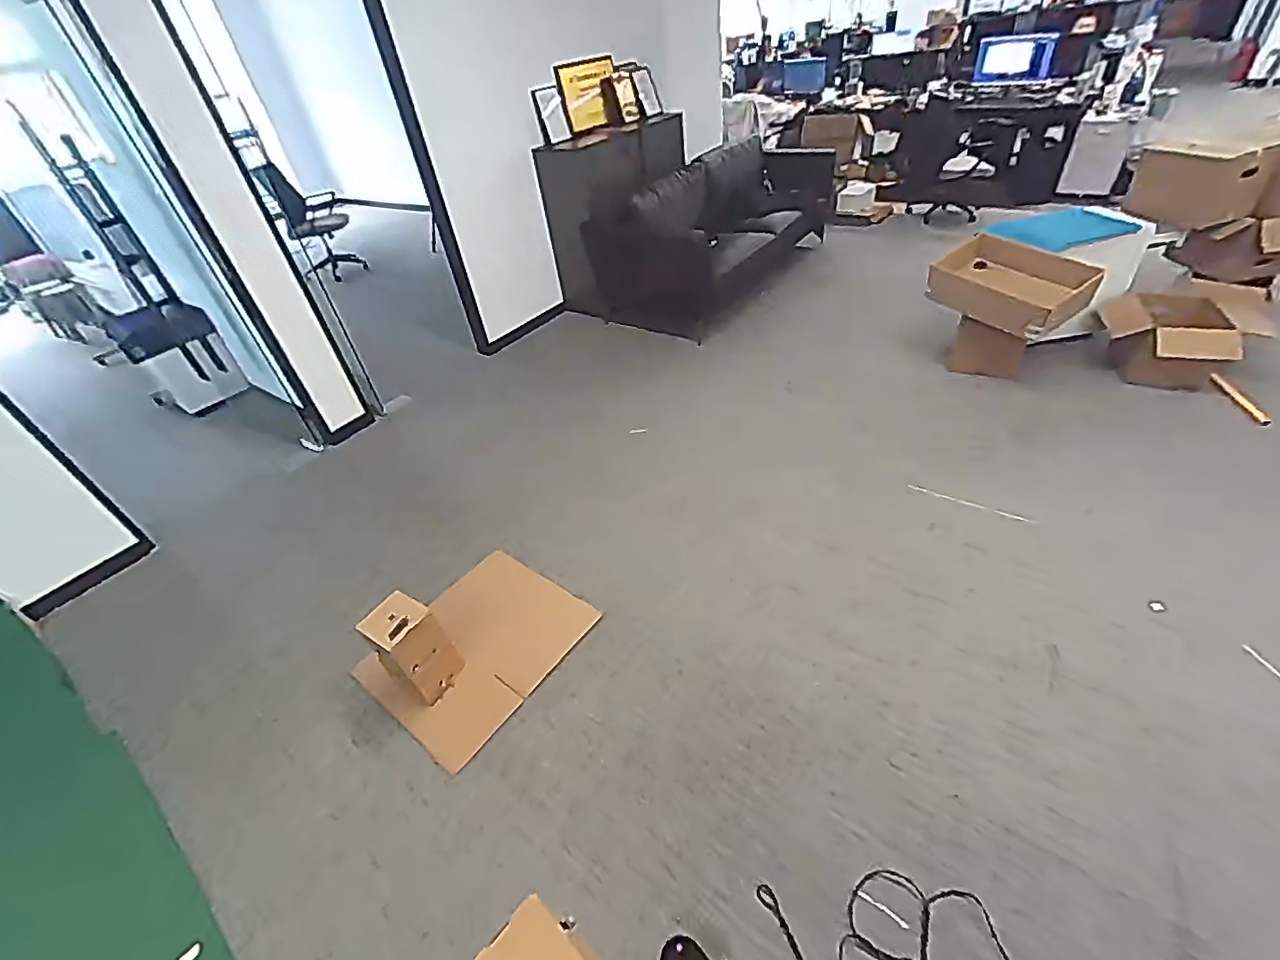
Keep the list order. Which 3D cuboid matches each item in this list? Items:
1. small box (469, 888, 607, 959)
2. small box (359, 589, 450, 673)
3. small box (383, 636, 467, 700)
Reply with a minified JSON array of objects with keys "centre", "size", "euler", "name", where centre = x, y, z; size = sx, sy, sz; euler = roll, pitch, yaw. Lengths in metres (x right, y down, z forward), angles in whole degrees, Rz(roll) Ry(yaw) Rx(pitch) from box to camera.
[{"centre":[-0.088,0.555,0.523],"size":[0.179,0.176,0.168],"euler":[24,53,38],"name":"small box"},{"centre":[-0.738,0.483,1.714],"size":[0.179,0.176,0.168],"euler":[18,47,30],"name":"small box"},{"centre":[-0.718,0.608,1.819],"size":[0.179,0.176,0.168],"euler":[17,46,27],"name":"small box"}]
